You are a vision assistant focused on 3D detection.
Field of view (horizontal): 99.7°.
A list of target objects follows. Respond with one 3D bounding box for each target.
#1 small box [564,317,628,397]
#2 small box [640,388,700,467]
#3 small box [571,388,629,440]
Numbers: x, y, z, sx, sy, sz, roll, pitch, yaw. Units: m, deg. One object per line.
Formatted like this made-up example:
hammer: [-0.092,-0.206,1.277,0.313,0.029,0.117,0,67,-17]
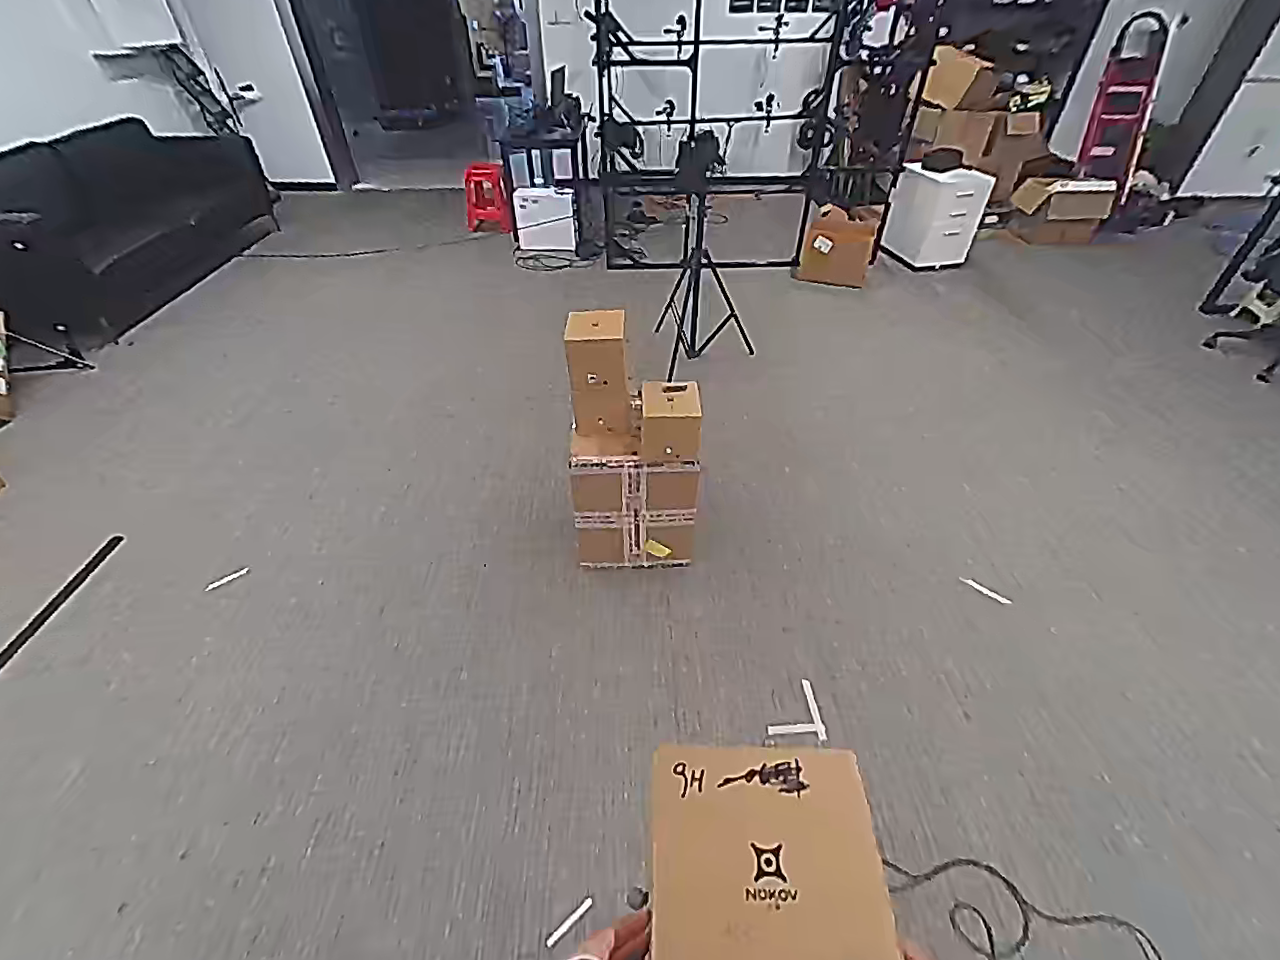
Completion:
small box: [-0.124,-0.362,1.593,0.168,0.176,0.179,-2,43,1]
small box: [0.084,-0.157,1.609,0.168,0.176,0.179,0,43,-1]
small box: [-0.122,-0.243,1.704,0.168,0.176,0.179,-2,43,1]
